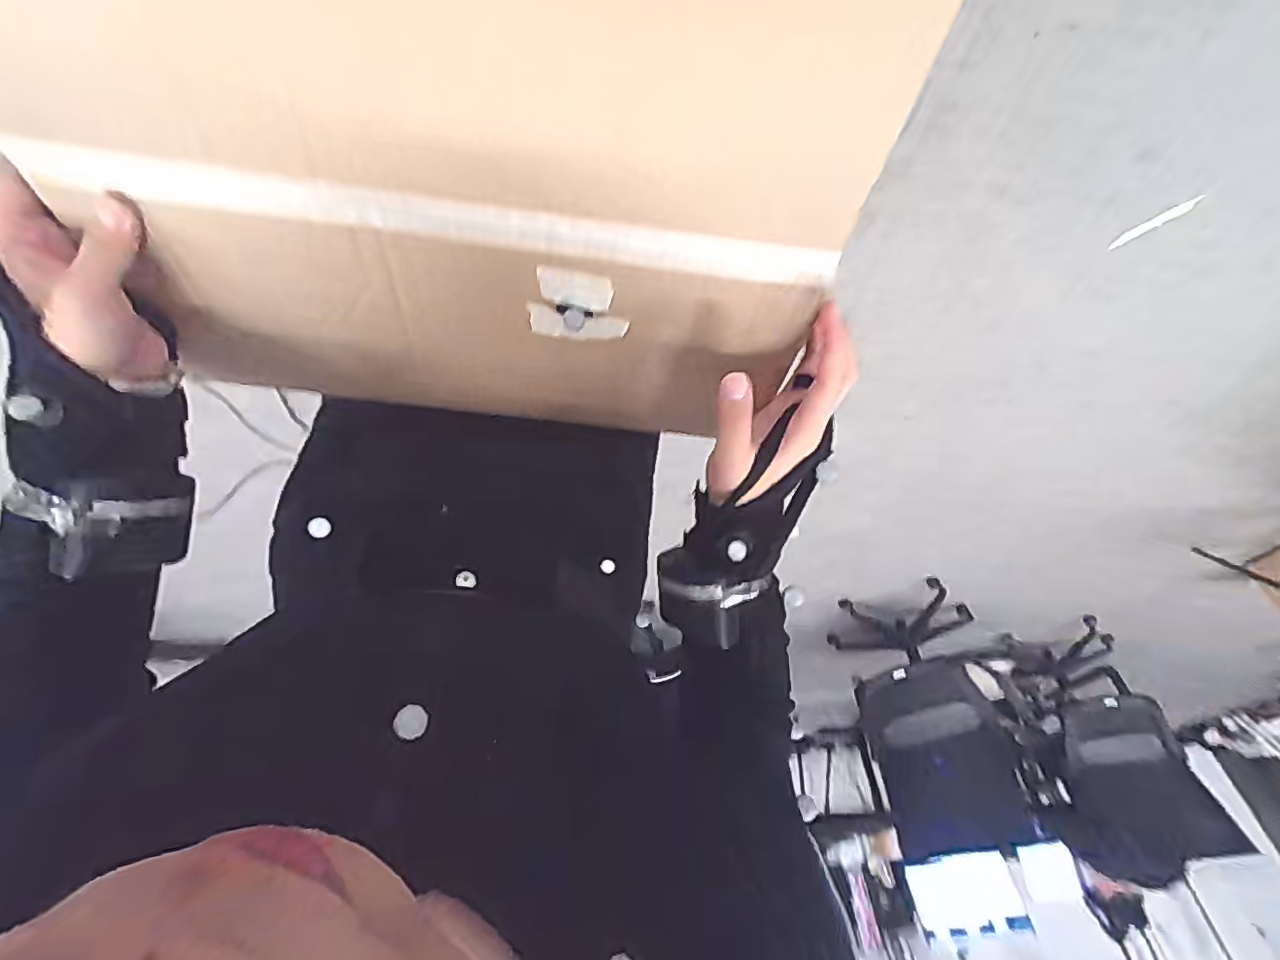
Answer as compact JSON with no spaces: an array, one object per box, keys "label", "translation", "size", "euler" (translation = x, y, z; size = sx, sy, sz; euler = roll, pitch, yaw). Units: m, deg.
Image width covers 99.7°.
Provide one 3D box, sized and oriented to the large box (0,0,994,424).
[{"label":"large box","translation":[-0.079,-0.263,0.329],"size":[0.408,0.320,0.320],"euler":[5,147,-5]}]
